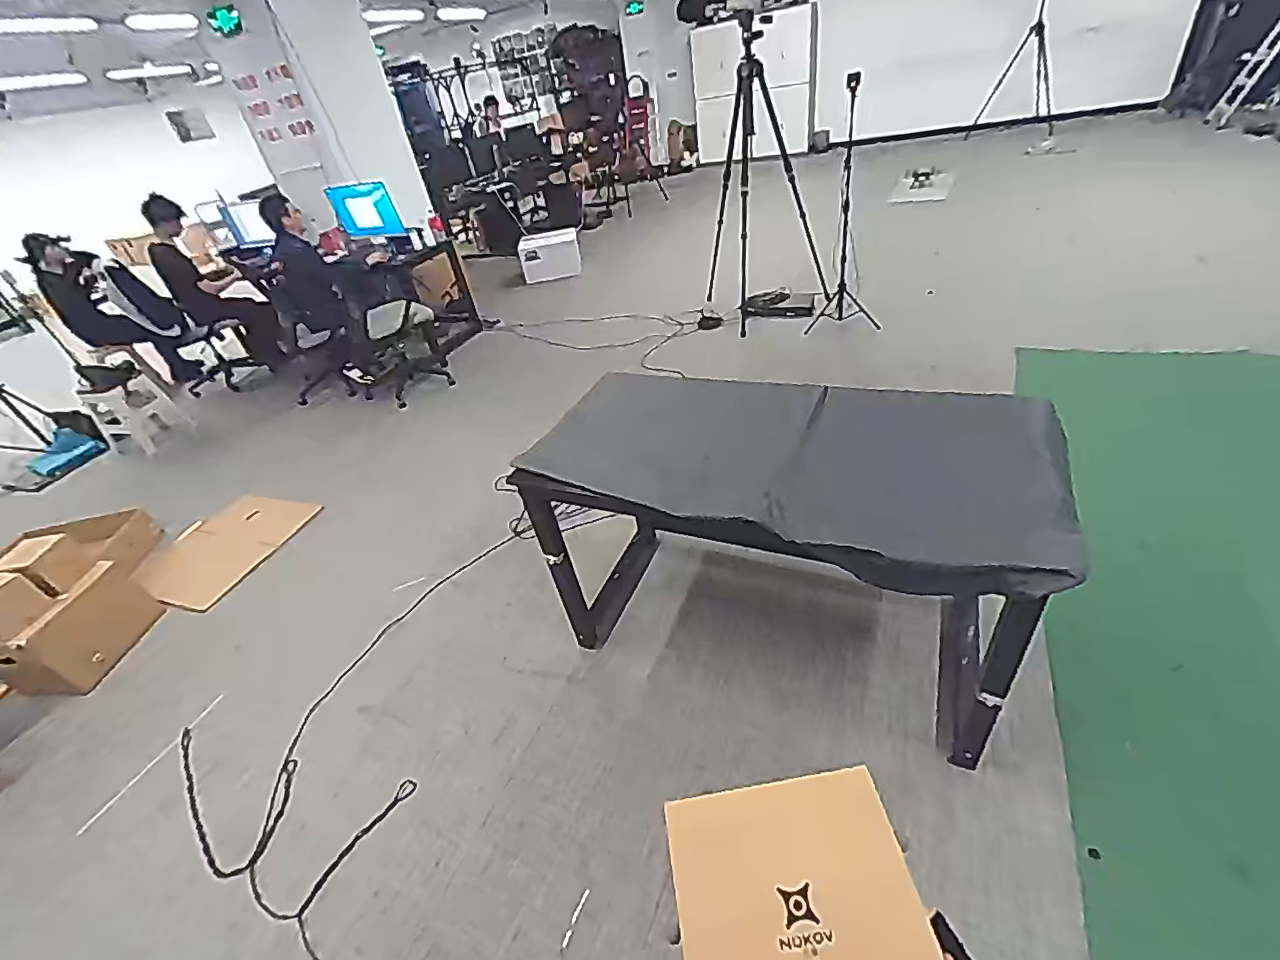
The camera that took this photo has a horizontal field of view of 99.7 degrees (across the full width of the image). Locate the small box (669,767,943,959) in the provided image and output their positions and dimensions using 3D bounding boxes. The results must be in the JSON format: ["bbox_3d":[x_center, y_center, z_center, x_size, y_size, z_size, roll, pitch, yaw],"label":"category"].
[{"bbox_3d":[0.122,0.356,0.419,0.168,0.176,0.179,-11,42,2],"label":"small box"}]
